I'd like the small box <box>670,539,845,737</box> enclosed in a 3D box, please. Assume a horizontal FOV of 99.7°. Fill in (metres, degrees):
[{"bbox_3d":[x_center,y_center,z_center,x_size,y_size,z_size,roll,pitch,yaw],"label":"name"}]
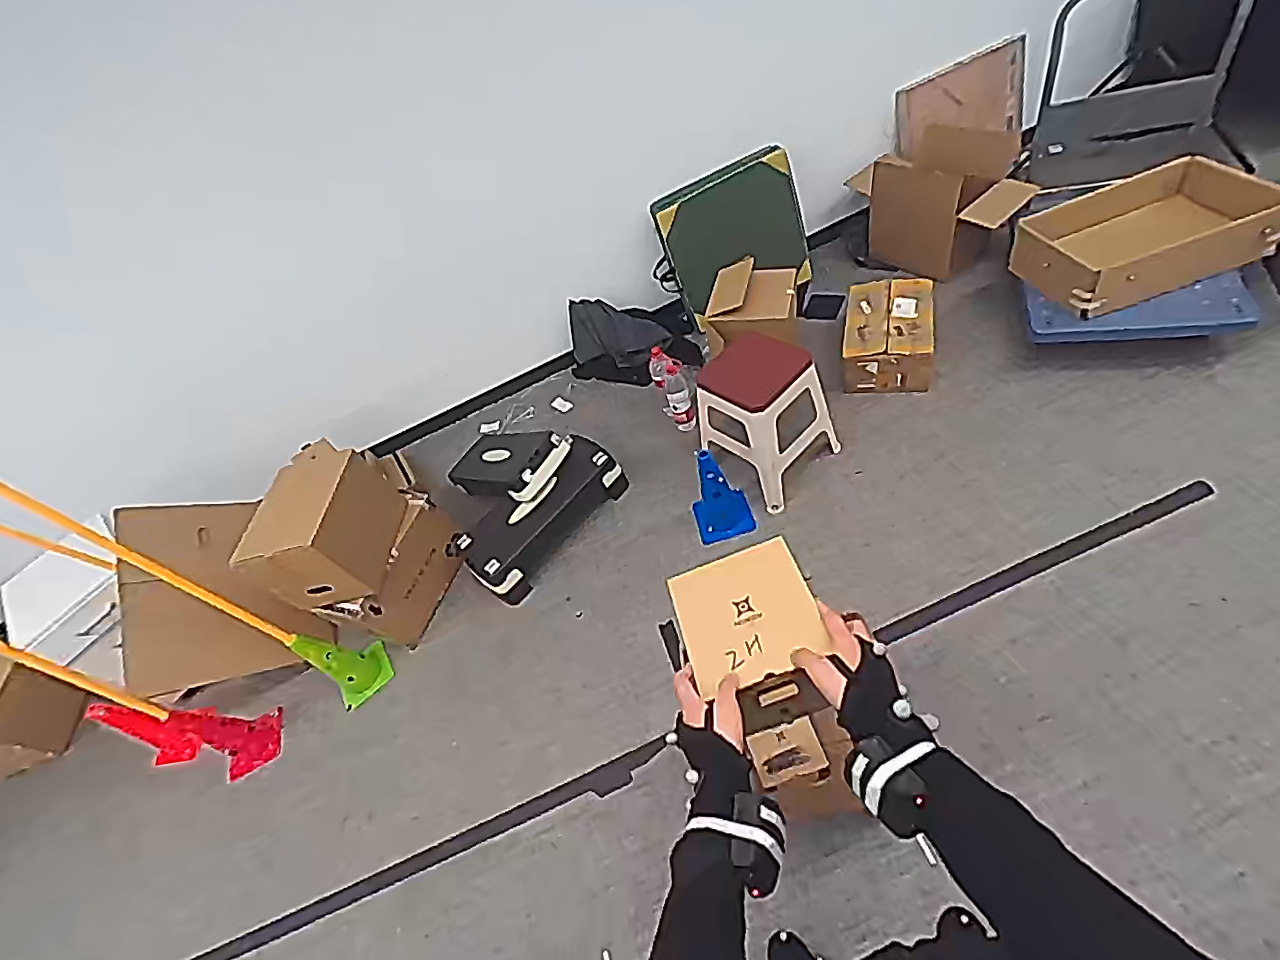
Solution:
[{"bbox_3d":[0.157,0.214,0.724,0.168,0.176,0.179,-23,48,7],"label":"small box"}]
